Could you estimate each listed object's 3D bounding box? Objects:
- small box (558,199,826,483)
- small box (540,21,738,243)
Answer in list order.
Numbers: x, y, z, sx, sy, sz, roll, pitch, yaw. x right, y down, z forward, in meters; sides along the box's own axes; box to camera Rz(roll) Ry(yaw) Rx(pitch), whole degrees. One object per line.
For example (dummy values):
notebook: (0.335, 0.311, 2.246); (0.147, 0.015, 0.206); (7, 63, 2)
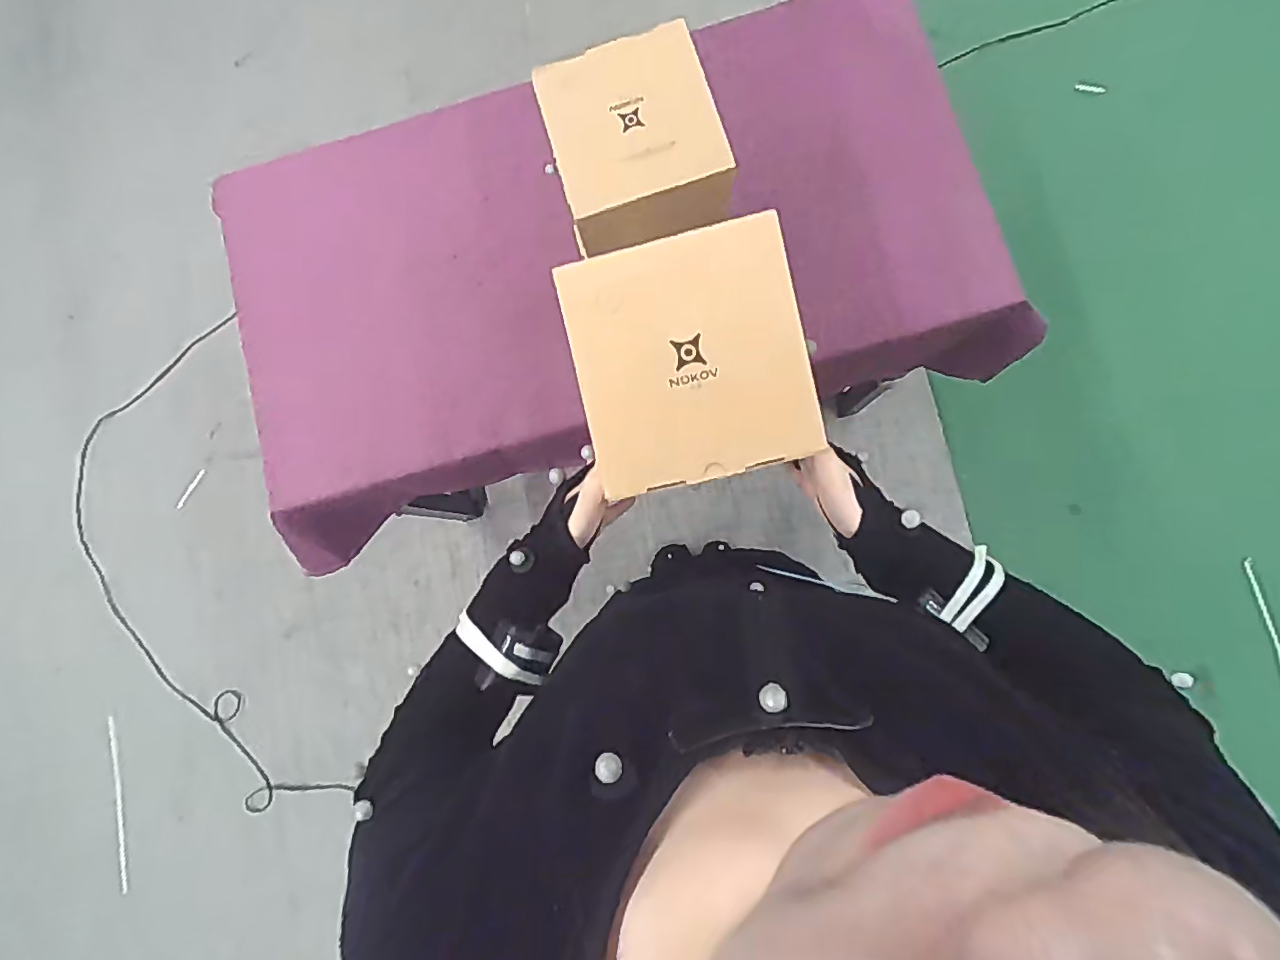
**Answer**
small box: (0.041, -0.102, 0.466); (0.168, 0.176, 0.179); (-12, 94, 4)
small box: (0.002, -0.350, 0.616); (0.168, 0.176, 0.179); (-16, 82, 3)
